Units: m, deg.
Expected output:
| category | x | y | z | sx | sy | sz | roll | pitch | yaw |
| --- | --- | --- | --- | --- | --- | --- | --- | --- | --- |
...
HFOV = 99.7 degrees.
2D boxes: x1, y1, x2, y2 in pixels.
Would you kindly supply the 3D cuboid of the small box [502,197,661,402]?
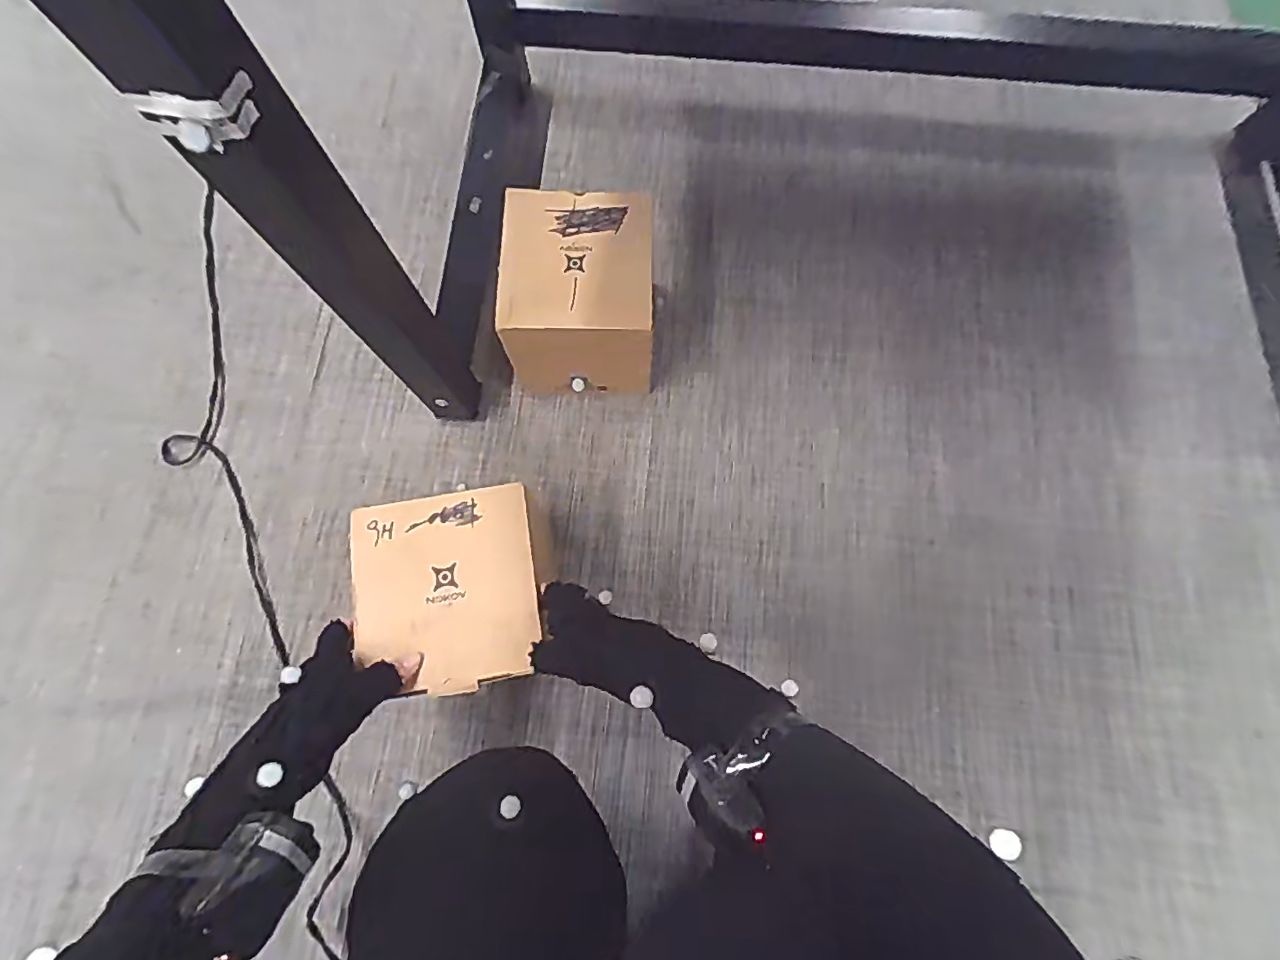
| category | x | y | z | sx | sy | sz | roll | pitch | yaw |
| --- | --- | --- | --- | --- | --- | --- | --- | --- | --- |
| small box | -0.062 | -0.211 | 0.663 | 0.168 | 0.176 | 0.179 | 2 | 76 | 0 |
